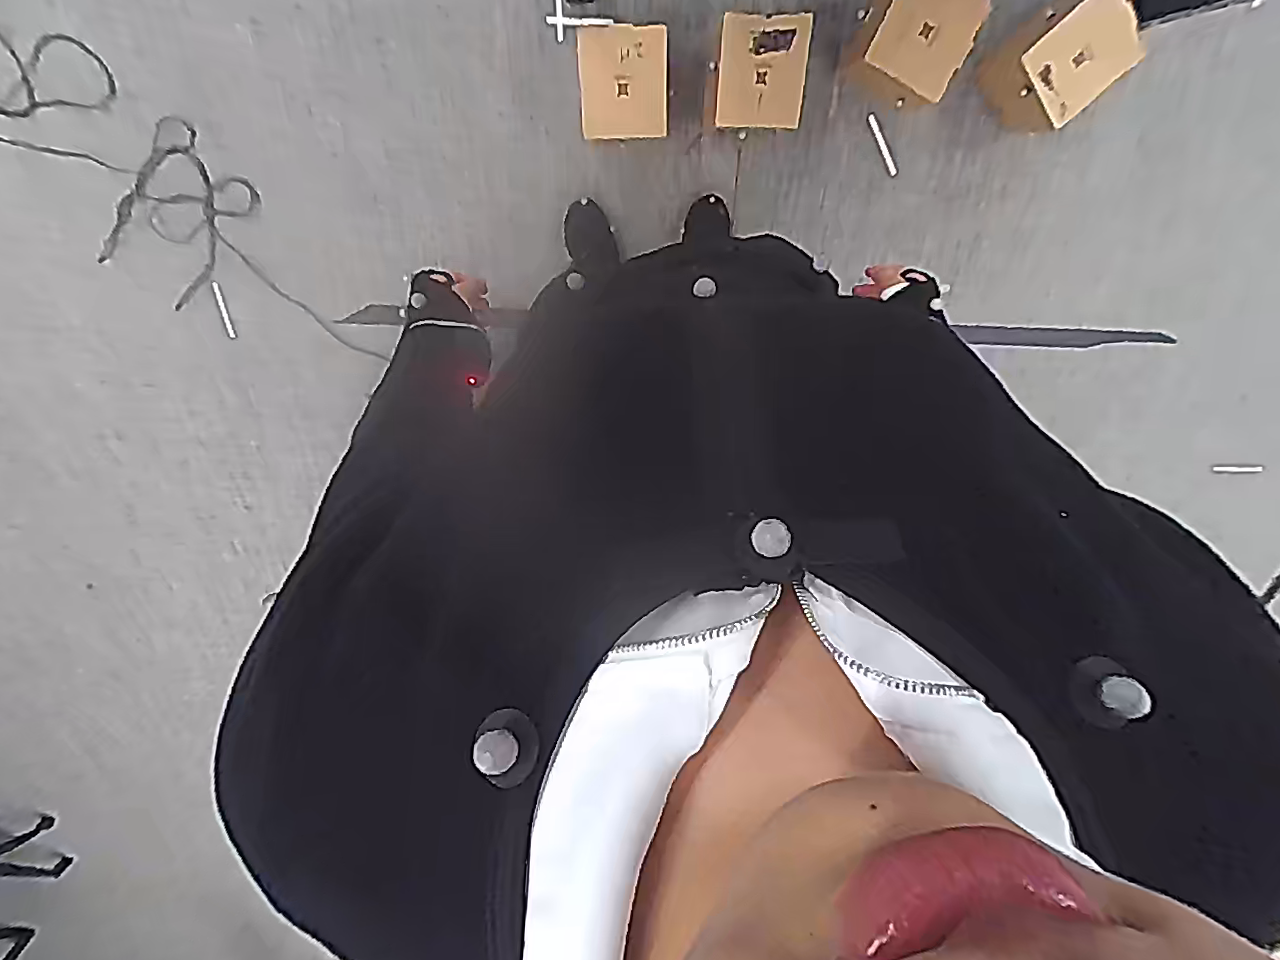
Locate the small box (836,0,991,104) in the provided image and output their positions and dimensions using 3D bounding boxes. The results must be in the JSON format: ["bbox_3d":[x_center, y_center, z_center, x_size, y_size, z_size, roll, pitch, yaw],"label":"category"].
[{"bbox_3d":[0.521,-0.864,1.056,0.179,0.176,0.168,20,117,-11],"label":"small box"}]

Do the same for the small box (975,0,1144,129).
[{"bbox_3d":[0.822,-0.839,1.075,0.179,0.176,0.168,-41,113,20],"label":"small box"}]

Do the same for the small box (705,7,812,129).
[{"bbox_3d":[0.225,-0.810,1.078,0.168,0.176,0.179,0,122,-1],"label":"small box"}]
